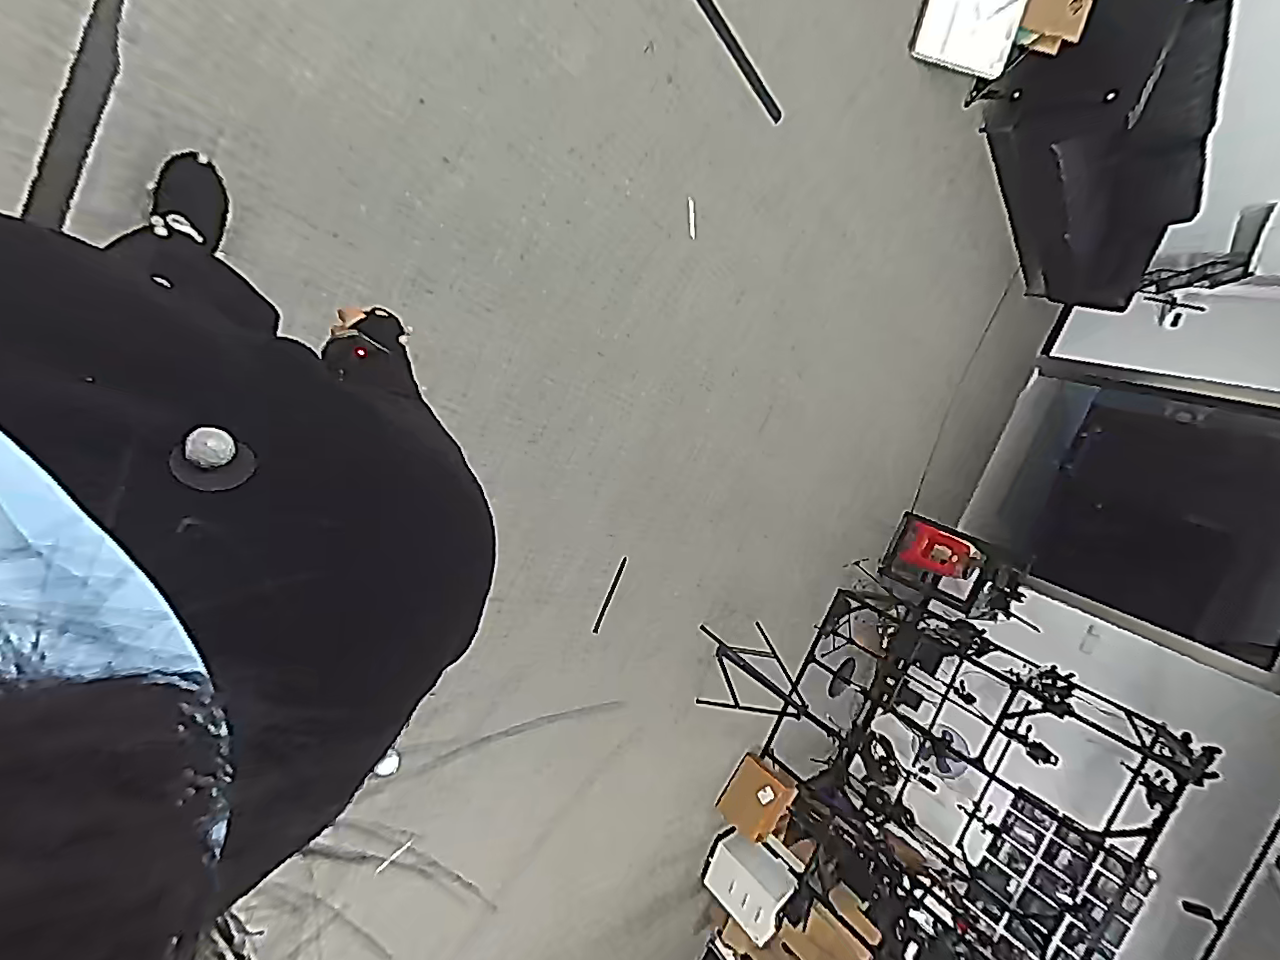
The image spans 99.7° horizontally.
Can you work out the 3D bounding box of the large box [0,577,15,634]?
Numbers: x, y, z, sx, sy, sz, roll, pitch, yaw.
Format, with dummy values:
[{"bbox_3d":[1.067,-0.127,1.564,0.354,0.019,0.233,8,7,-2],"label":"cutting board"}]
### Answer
[{"bbox_3d":[-1.204,0.305,0.724,0.408,0.320,0.320,26,90,-47],"label":"large box"}]
